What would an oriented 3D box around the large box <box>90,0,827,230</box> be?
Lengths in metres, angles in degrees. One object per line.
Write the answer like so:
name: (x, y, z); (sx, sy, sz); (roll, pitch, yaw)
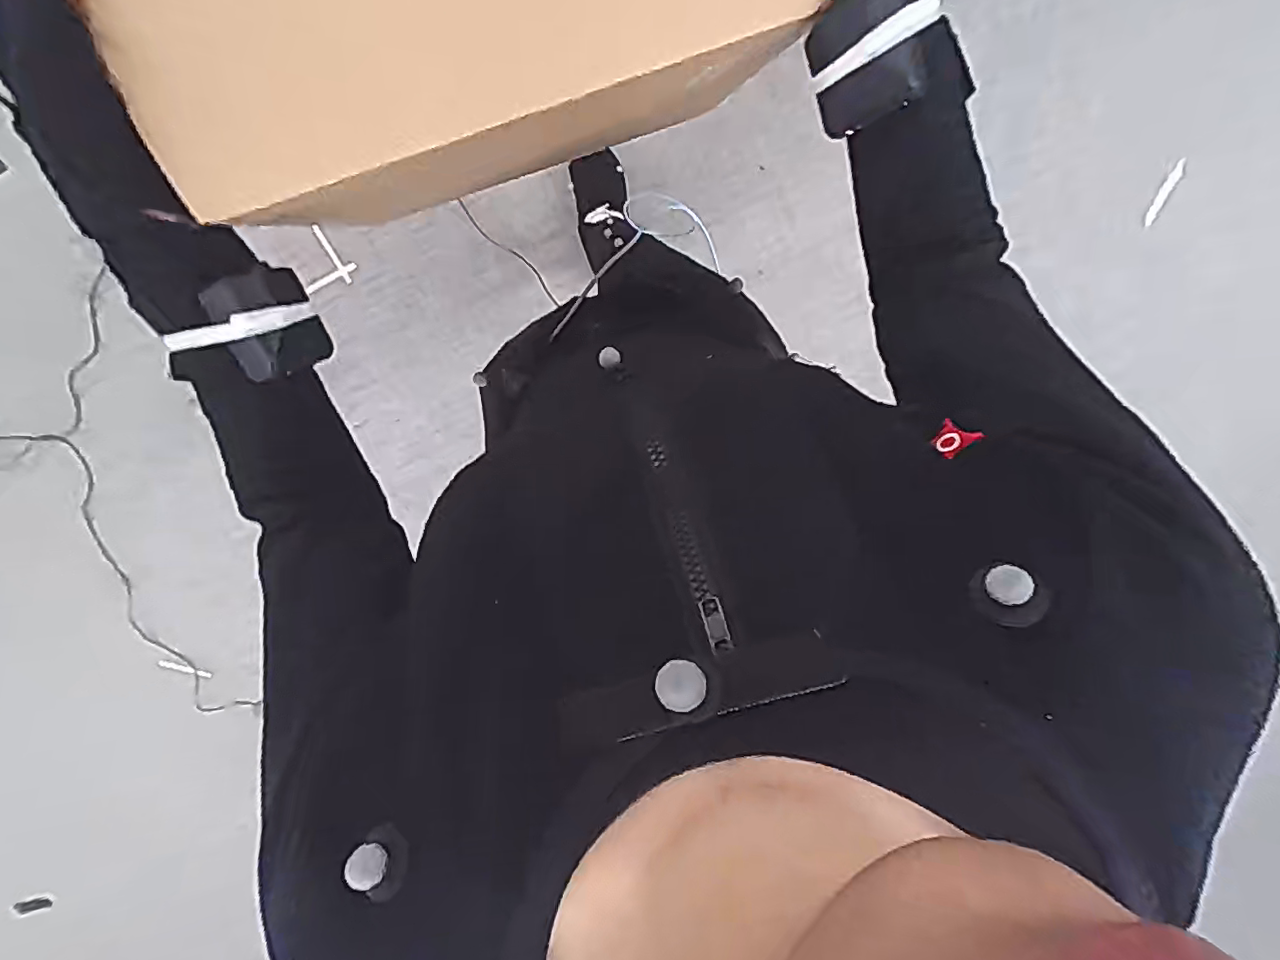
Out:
large box: (-0.136, -0.411, 0.399); (0.408, 0.320, 0.320); (-19, 116, 0)
